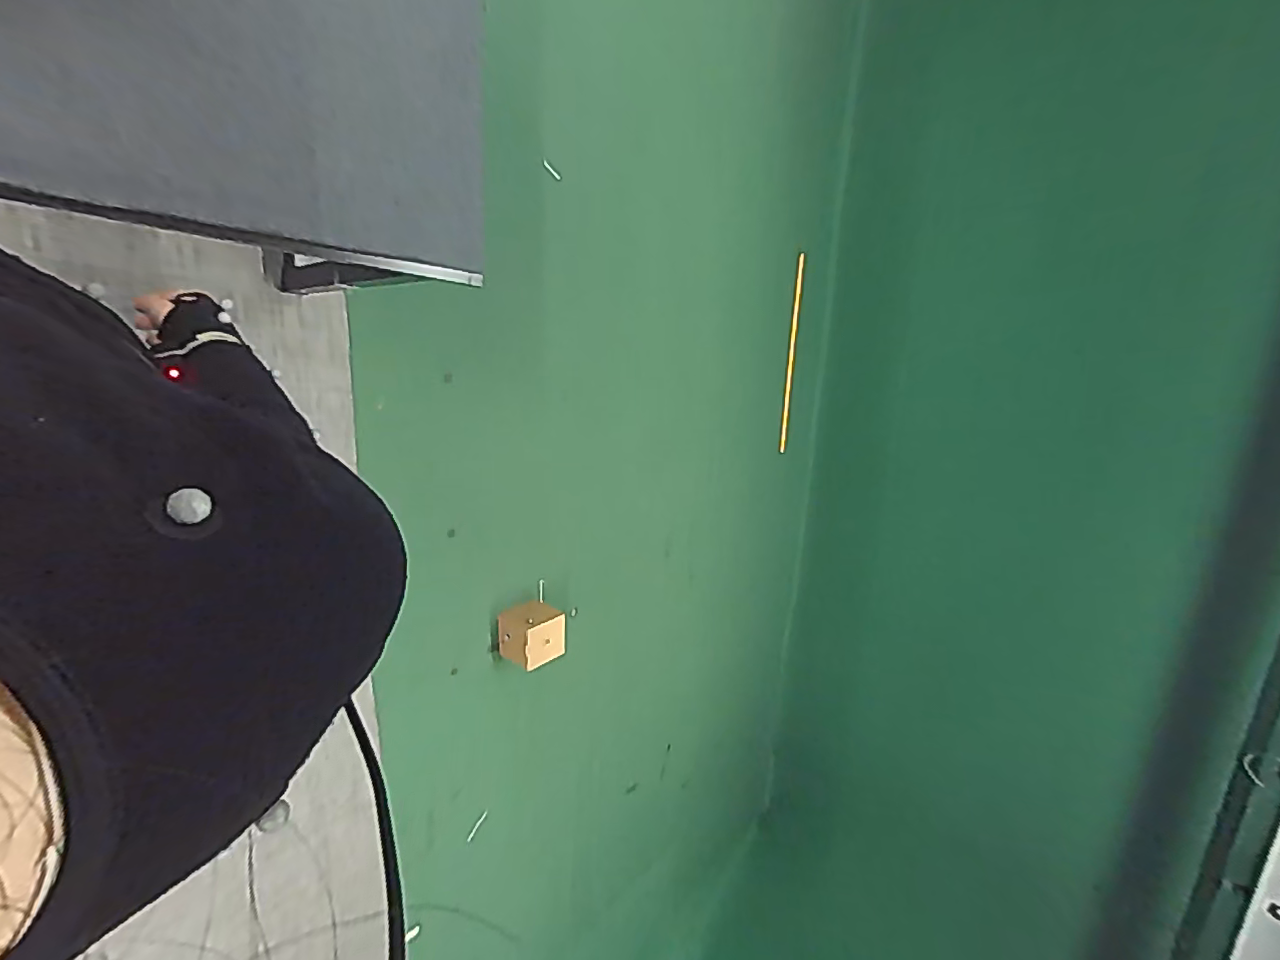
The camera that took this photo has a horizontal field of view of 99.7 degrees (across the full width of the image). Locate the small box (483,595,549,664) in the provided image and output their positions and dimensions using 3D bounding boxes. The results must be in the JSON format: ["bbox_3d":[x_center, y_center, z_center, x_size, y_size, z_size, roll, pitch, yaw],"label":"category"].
[{"bbox_3d":[-0.458,0.546,2.002,0.179,0.176,0.168,-14,112,-49],"label":"small box"}]
